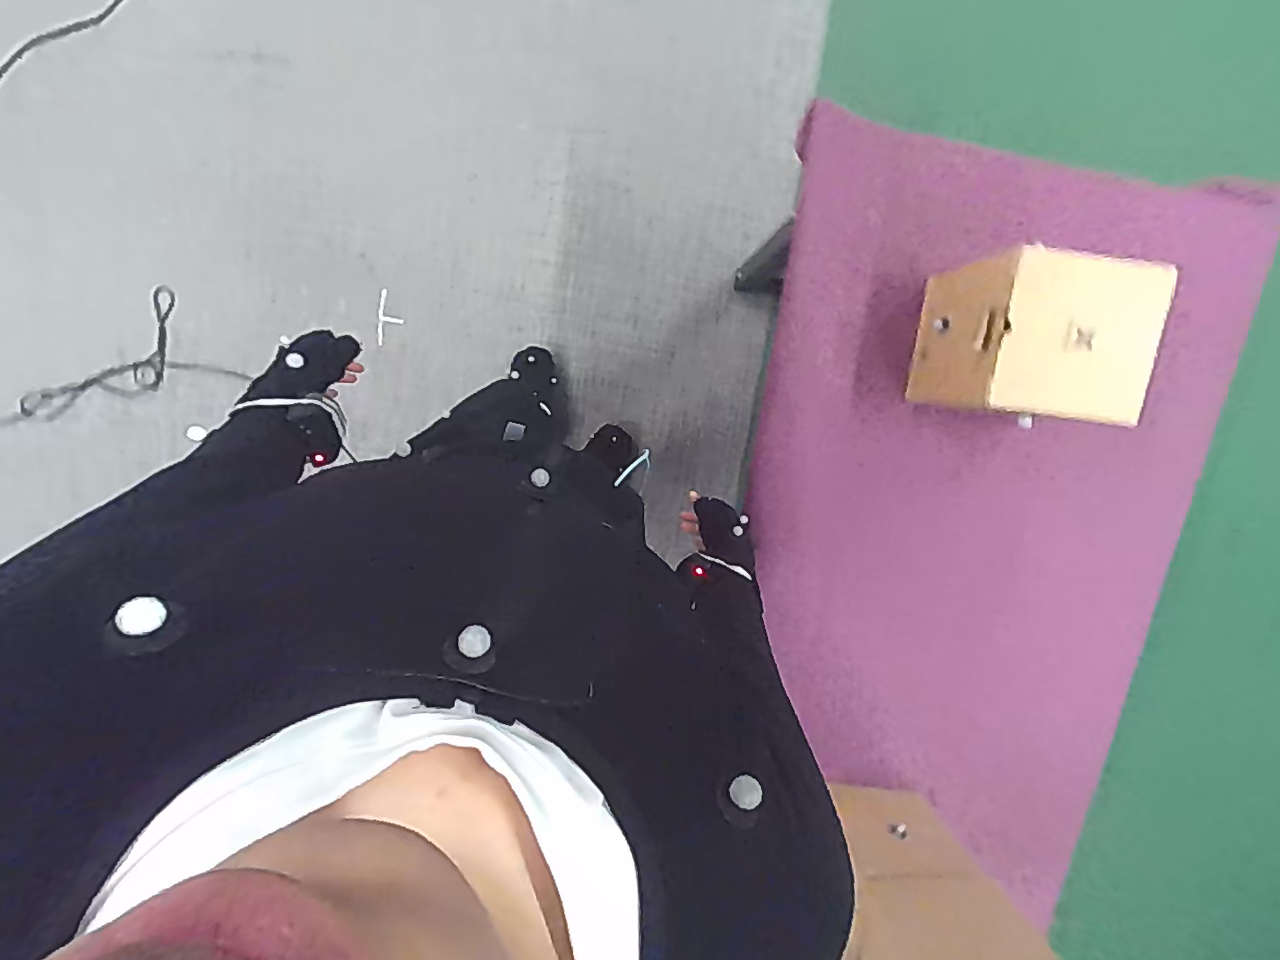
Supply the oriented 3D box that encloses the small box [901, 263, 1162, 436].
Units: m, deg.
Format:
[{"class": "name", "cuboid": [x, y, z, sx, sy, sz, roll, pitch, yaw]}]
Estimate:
[{"class": "small box", "cuboid": [0.461, -0.155, 0.668, 0.179, 0.176, 0.168, 7, 100, -3]}]
